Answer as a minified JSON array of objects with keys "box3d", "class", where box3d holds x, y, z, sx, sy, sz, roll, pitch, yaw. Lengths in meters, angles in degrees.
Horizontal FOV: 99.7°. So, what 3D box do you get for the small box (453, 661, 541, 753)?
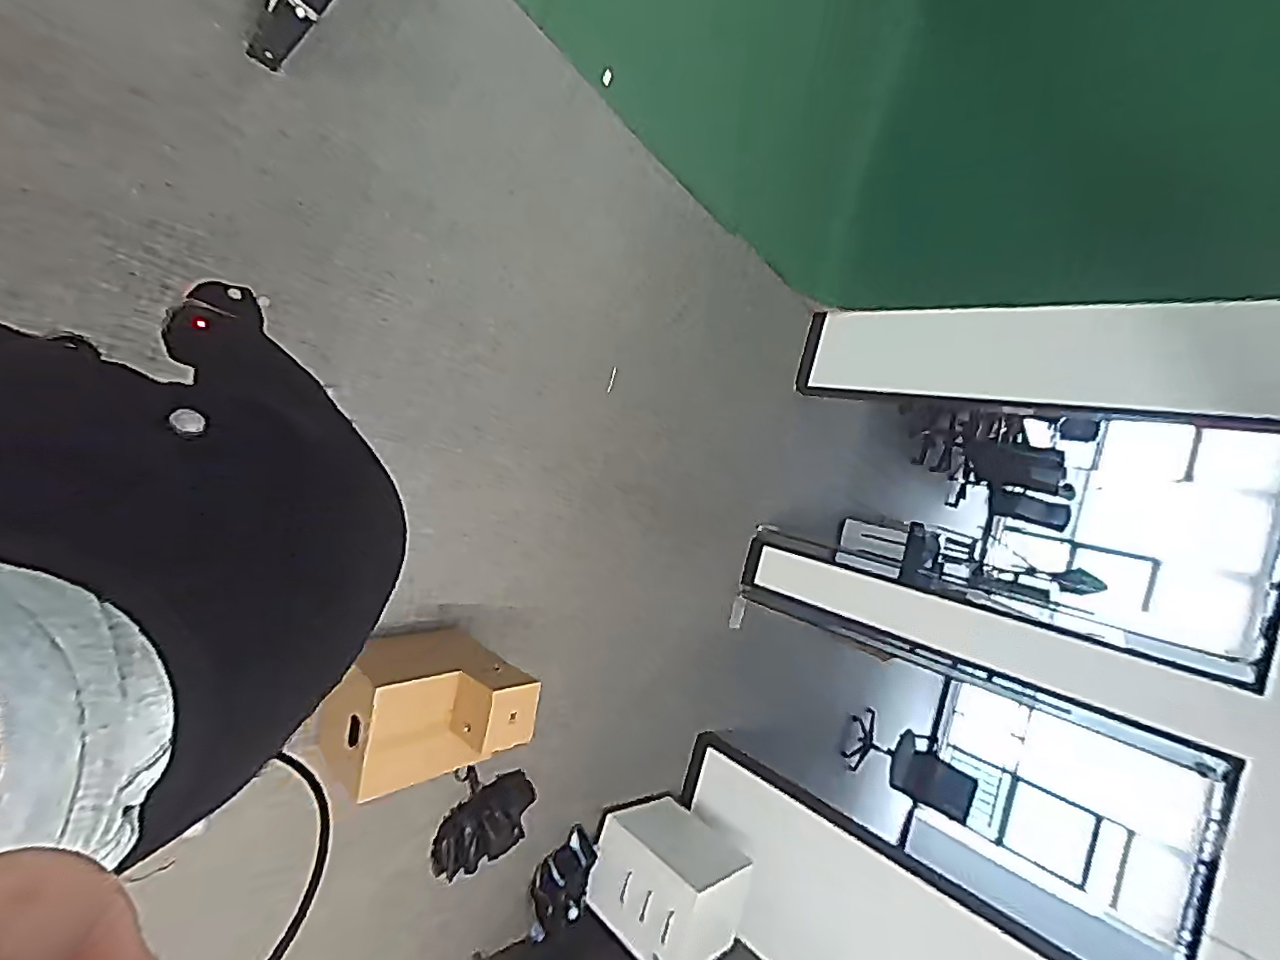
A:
[{"box3d":[-0.410,0.637,1.541,0.168,0.176,0.179,10,89,-49],"class":"small box"}]
